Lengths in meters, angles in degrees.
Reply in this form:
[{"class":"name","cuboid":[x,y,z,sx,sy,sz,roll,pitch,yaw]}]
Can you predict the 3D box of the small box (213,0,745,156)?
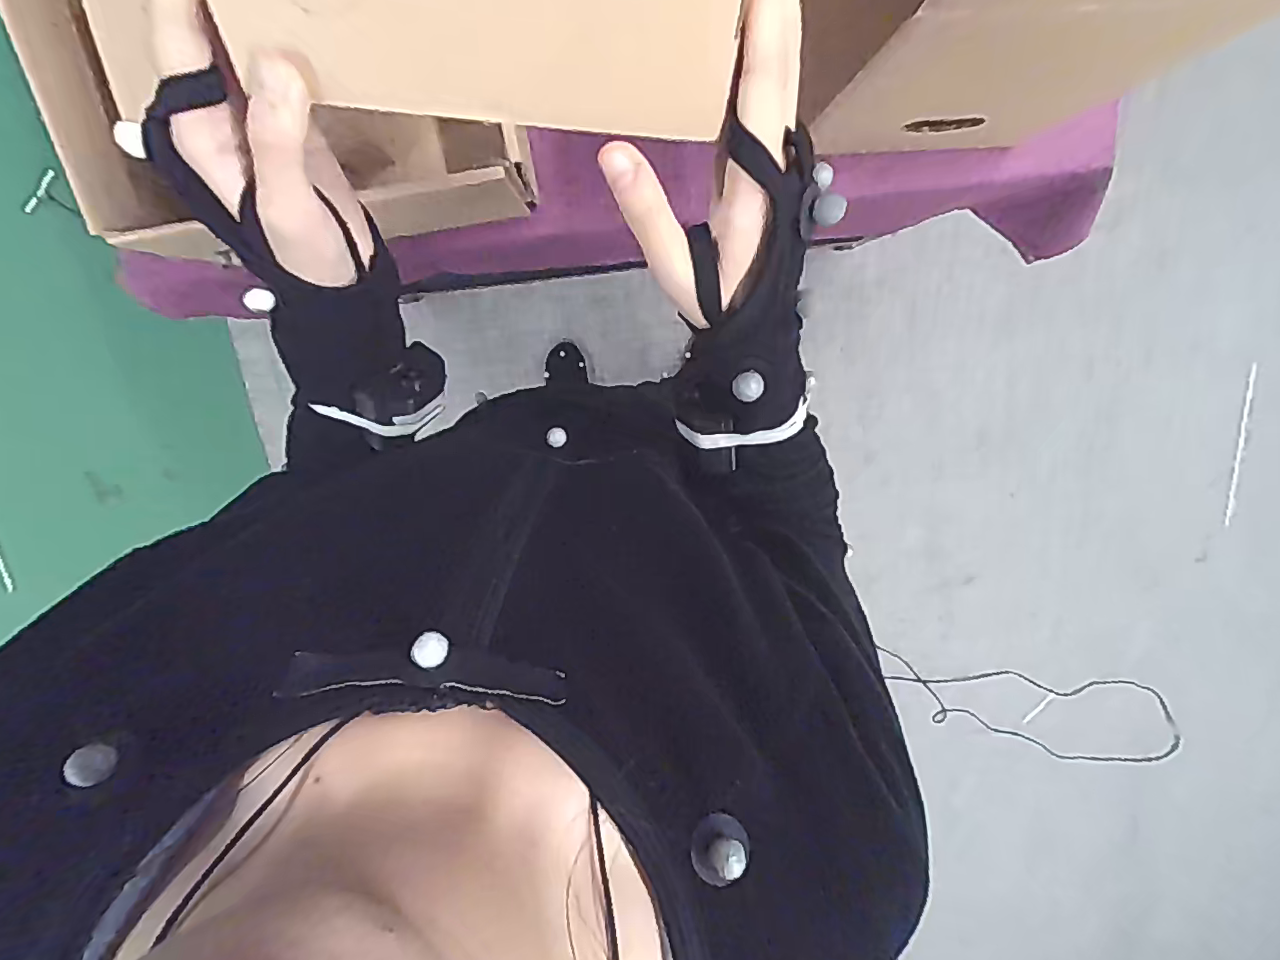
[{"class":"small box","cuboid":[-0.047,-0.246,0.191,0.179,0.176,0.168,4,143,-5]}]
